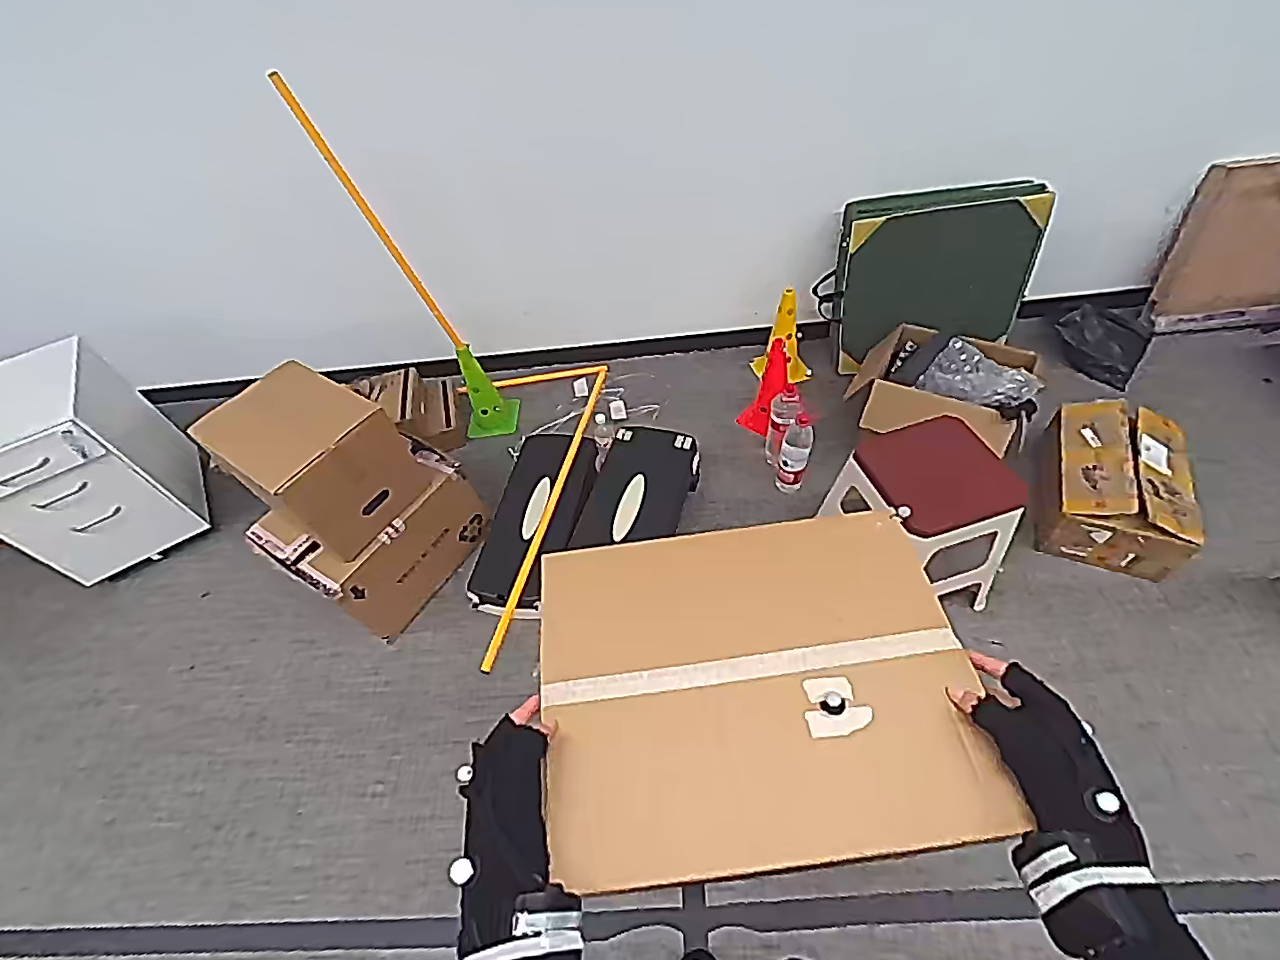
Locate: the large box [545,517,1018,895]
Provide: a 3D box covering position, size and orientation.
[{"bbox_3d":[0.114,0.280,0.653,0.408,0.320,0.320,-7,53,0],"label":"large box"}]
